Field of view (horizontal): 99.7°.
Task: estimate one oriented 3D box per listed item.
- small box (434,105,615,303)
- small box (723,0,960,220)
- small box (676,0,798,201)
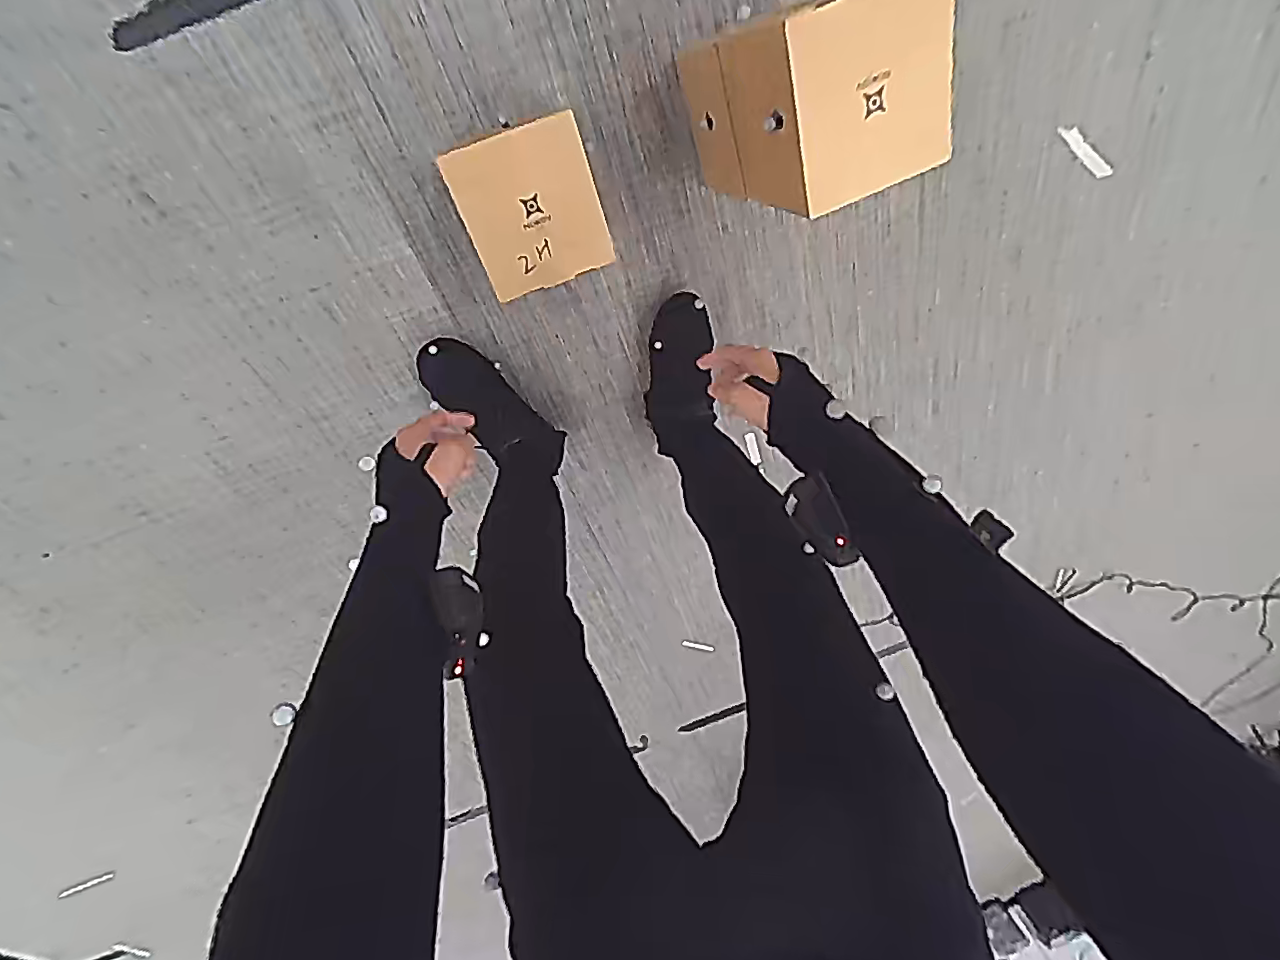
[{"bbox_3d":[-0.149,-0.361,0.703,0.168,0.176,0.179,-21,127,-2],"label":"small box"},{"bbox_3d":[0.206,-0.409,0.577,0.168,0.176,0.179,-24,126,0],"label":"small box"},{"bbox_3d":[0.164,-0.496,0.707,0.168,0.176,0.179,-24,126,0],"label":"small box"}]
